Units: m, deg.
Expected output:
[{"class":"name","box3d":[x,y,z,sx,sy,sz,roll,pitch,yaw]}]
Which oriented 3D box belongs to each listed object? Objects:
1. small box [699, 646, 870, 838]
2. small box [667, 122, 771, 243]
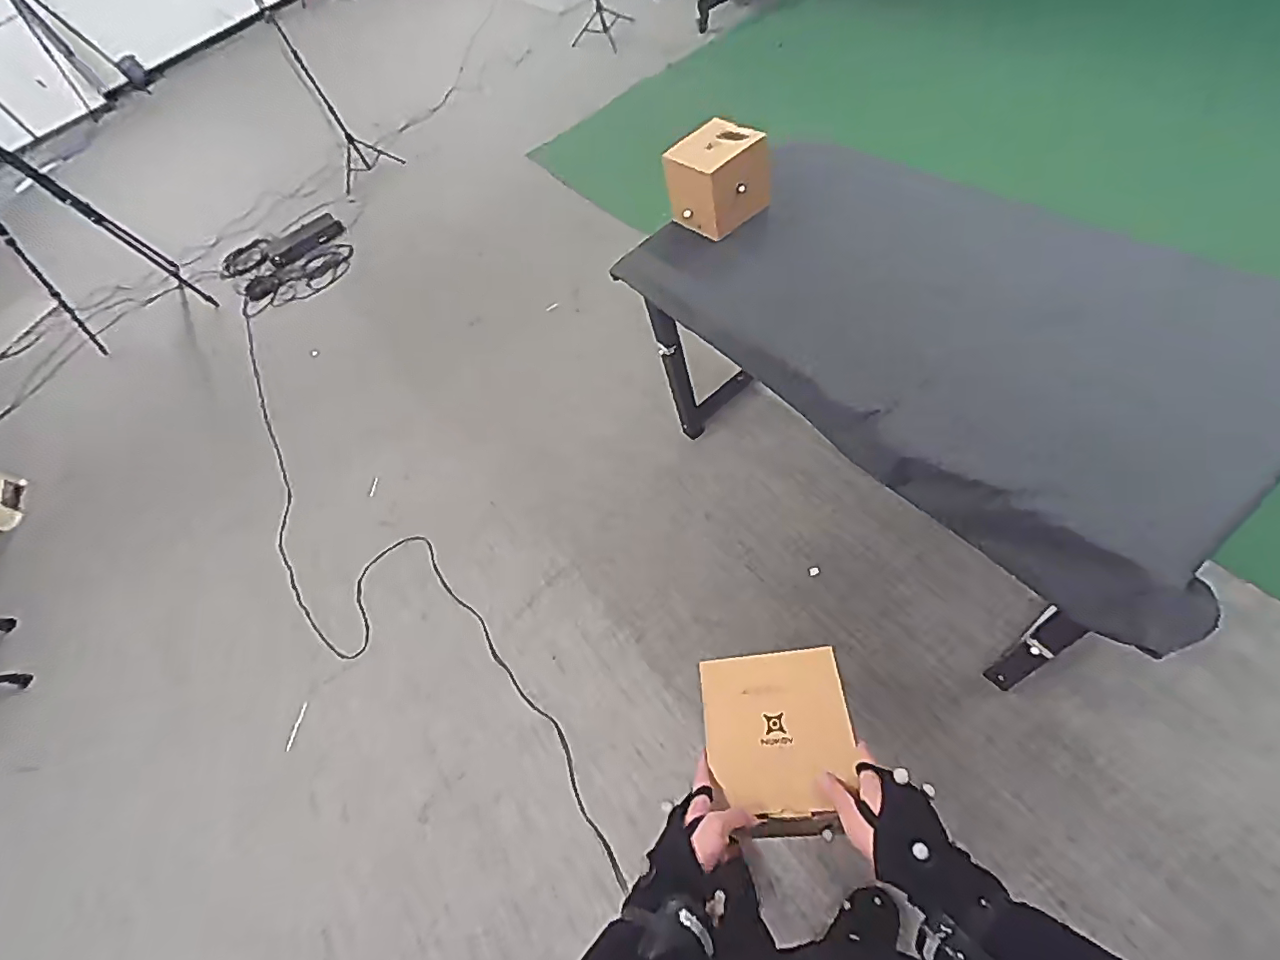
[{"class":"small box","box3d":[0.173,0.327,0.661,0.168,0.176,0.179,-11,48,11]},{"class":"small box","box3d":[0.191,-0.700,1.279,0.179,0.176,0.168,-39,56,-11]}]
